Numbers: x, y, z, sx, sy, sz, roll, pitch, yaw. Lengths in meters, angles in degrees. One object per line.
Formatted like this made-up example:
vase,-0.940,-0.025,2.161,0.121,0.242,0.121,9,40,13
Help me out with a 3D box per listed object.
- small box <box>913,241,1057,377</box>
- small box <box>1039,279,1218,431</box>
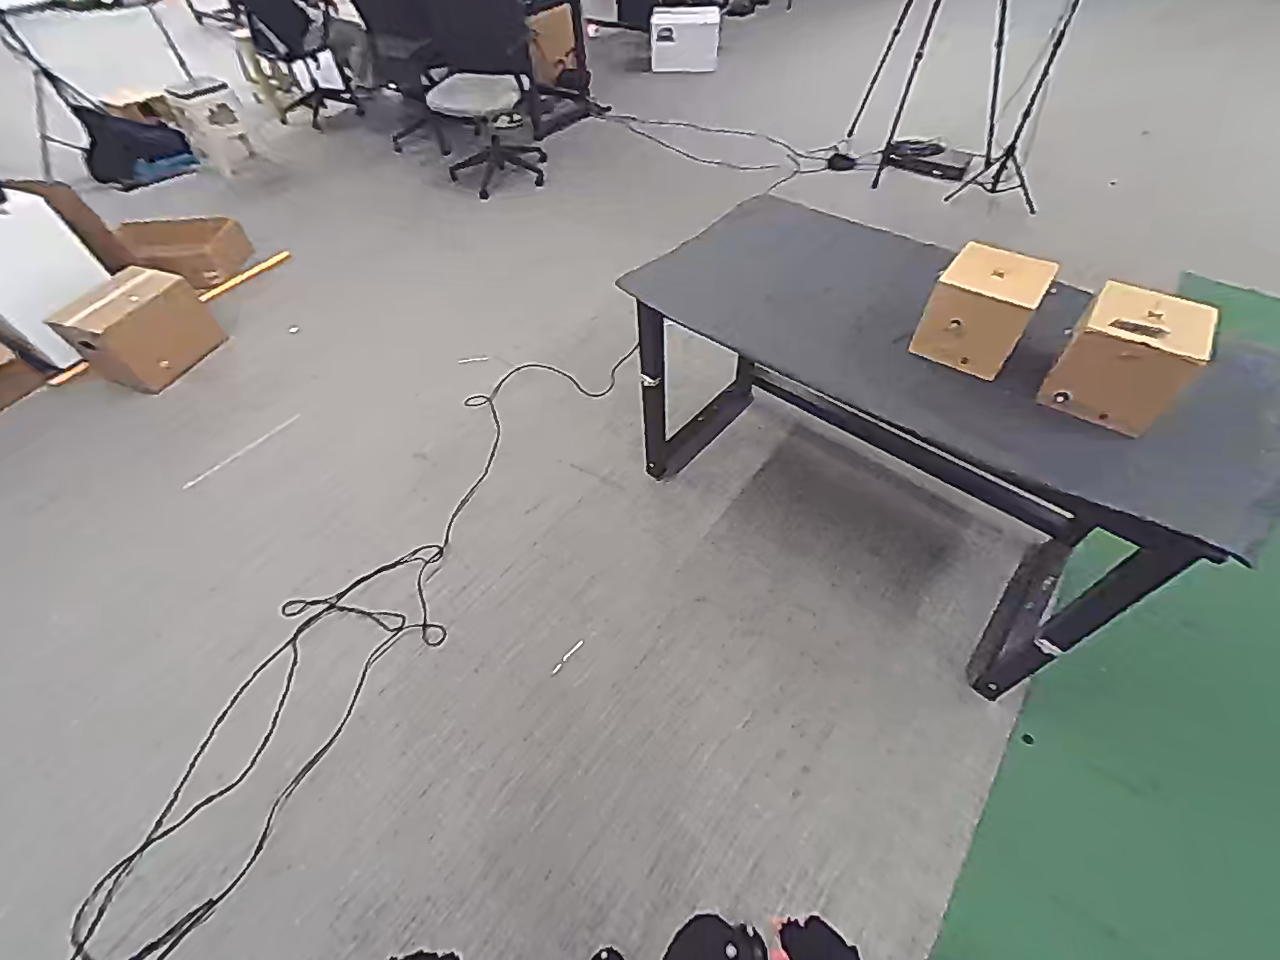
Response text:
small box,0.660,-0.331,1.054,0.168,0.176,0.179,30,58,24
small box,0.843,-0.216,0.948,0.168,0.176,0.179,30,57,24
